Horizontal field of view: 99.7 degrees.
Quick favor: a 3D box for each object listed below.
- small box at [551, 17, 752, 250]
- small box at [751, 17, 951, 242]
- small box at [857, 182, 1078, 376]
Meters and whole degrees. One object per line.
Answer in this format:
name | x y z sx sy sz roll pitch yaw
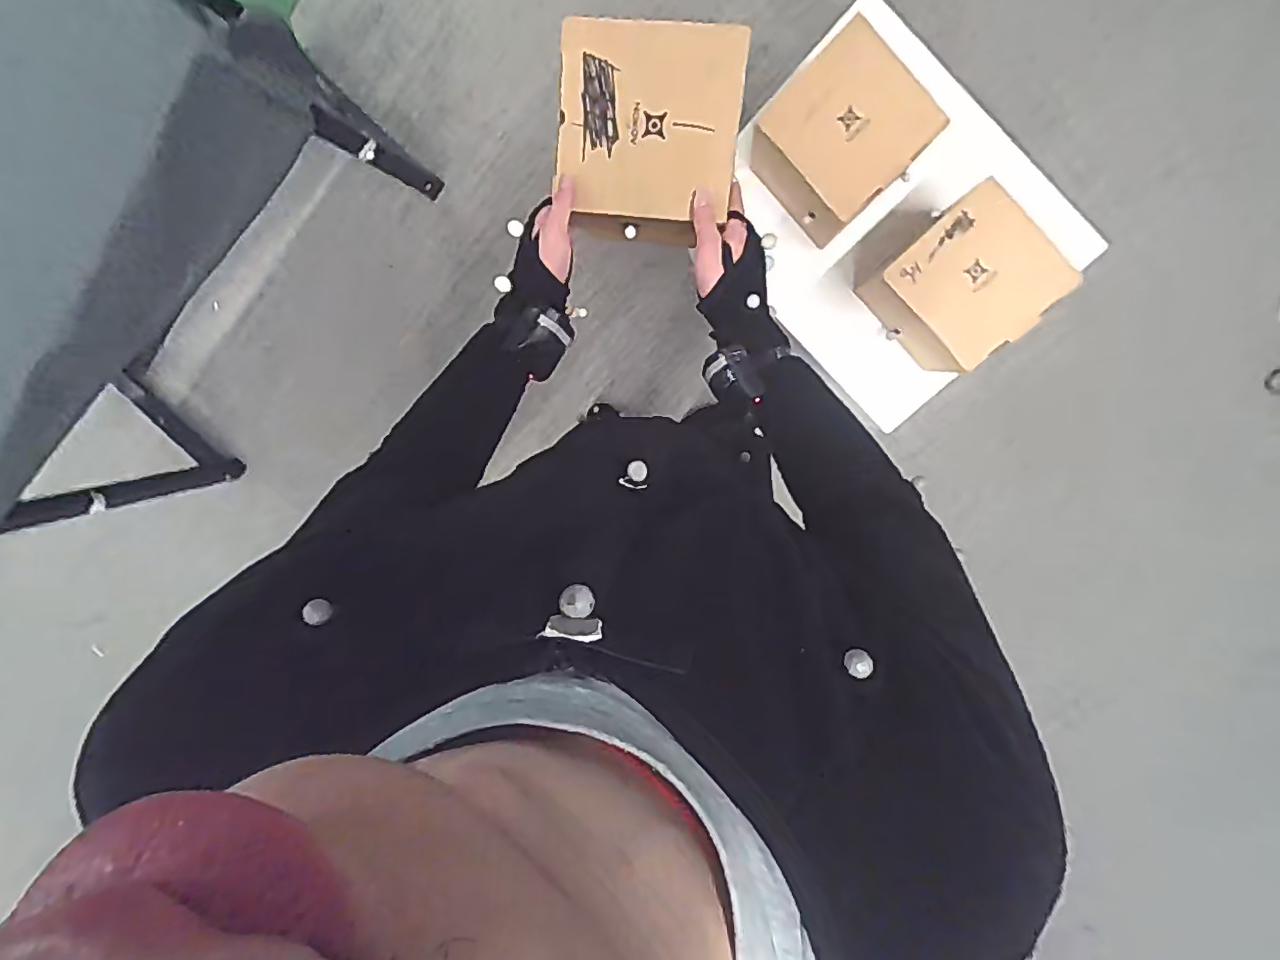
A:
small box | 0.014 -0.351 0.581 0.179 0.176 0.168 7 106 3
small box | 0.273 -0.454 0.743 0.168 0.176 0.179 -43 93 13
small box | 0.439 -0.268 0.758 0.168 0.176 0.179 -42 94 14
